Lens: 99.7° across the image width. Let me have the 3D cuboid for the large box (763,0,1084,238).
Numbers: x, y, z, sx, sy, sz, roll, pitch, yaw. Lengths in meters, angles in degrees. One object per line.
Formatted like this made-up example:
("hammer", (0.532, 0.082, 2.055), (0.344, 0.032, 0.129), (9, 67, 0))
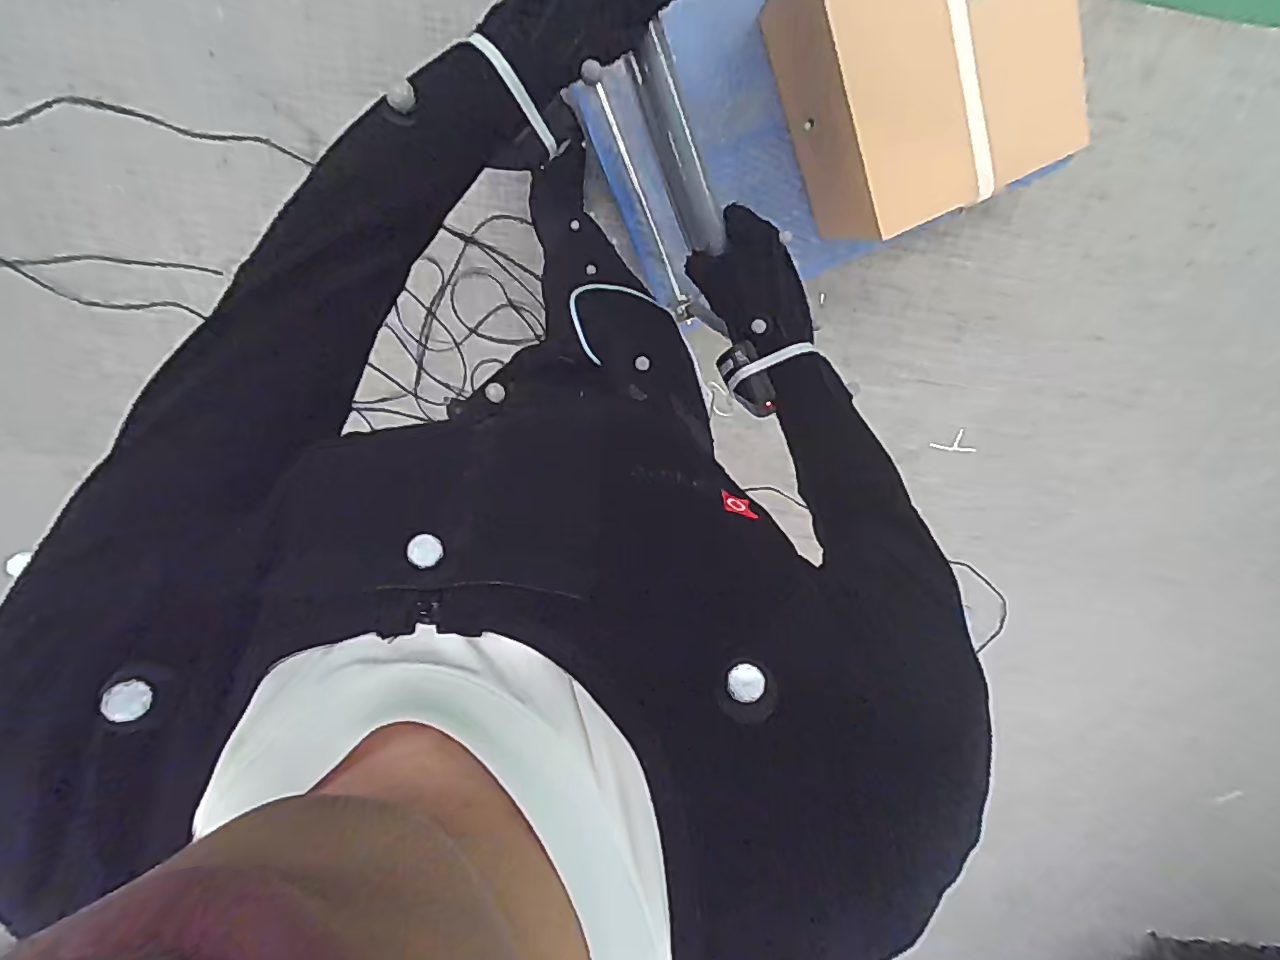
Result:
("large box", (0.437, -0.663, 0.887), (0.320, 0.320, 0.408), (-23, 112, 9))
